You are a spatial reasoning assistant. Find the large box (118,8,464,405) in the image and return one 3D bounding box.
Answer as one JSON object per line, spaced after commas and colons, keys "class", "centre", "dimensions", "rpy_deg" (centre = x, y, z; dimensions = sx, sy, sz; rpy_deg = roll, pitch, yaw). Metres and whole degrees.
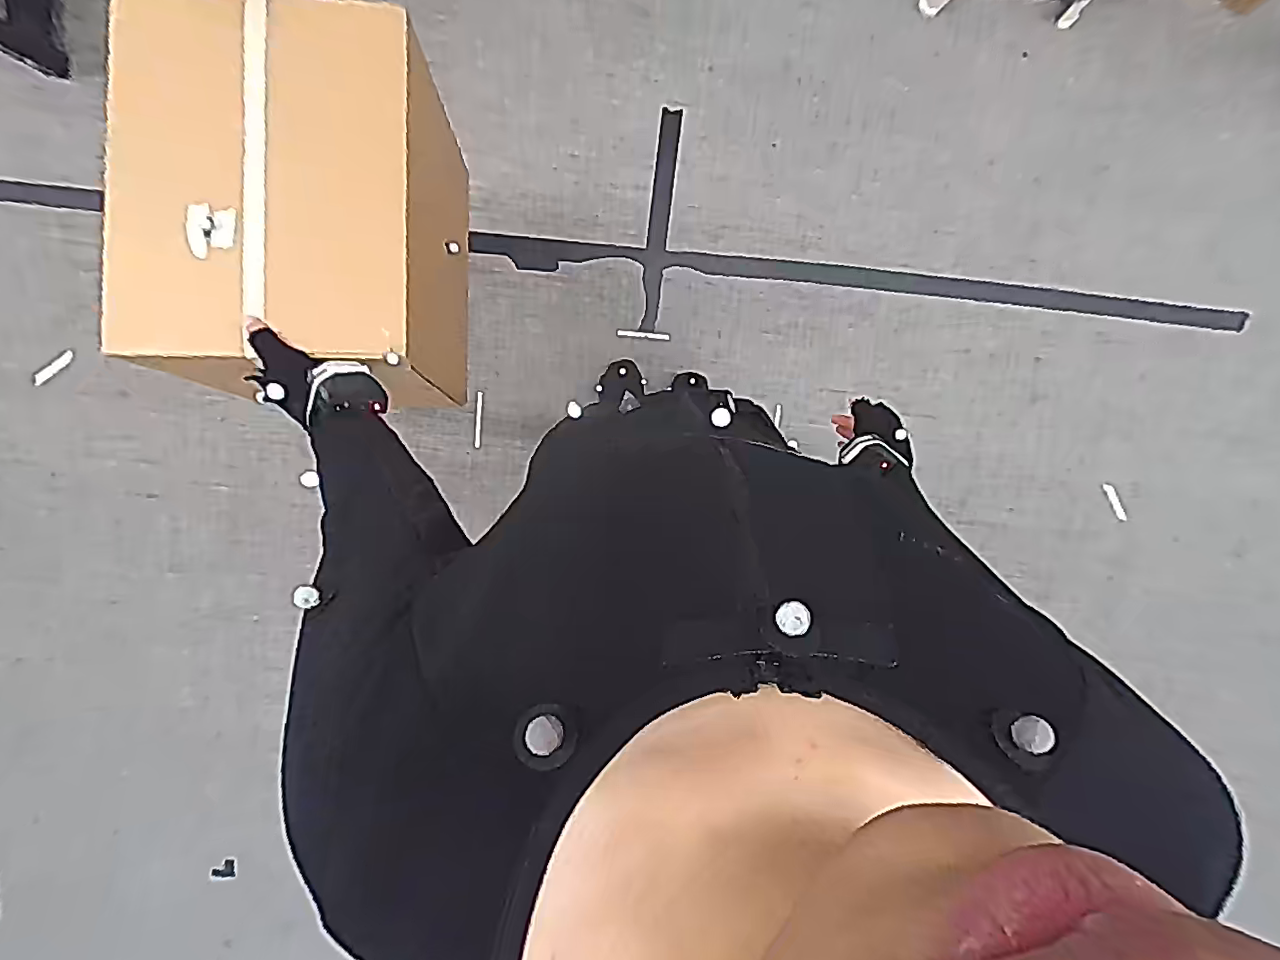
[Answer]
{"class": "large box", "centre": [-0.438, -0.329, 0.759], "dimensions": [0.320, 0.320, 0.408], "rpy_deg": [-1, 88, -5]}
